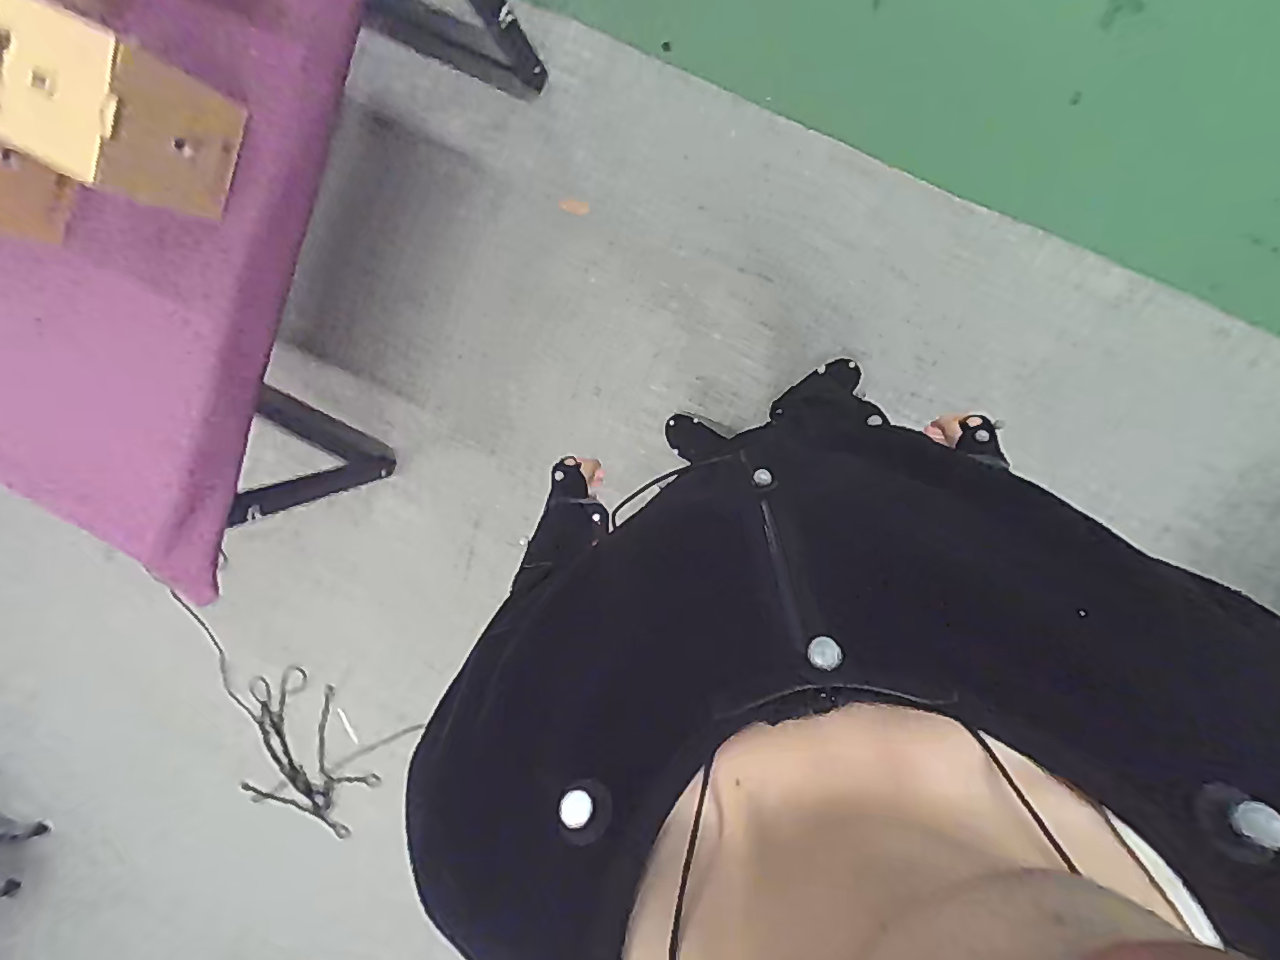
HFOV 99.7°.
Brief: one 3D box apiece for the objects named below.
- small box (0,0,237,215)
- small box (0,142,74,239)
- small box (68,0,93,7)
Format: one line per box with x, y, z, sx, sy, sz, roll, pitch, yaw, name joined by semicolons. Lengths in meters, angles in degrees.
-0.676;-0.469;0.699;0.179;0.176;0.168;27;104;3;small box
-0.945;-0.458;0.743;0.179;0.176;0.168;36;103;0;small box
-0.804;-0.740;0.664;0.179;0.176;0.168;25;103;4;small box
